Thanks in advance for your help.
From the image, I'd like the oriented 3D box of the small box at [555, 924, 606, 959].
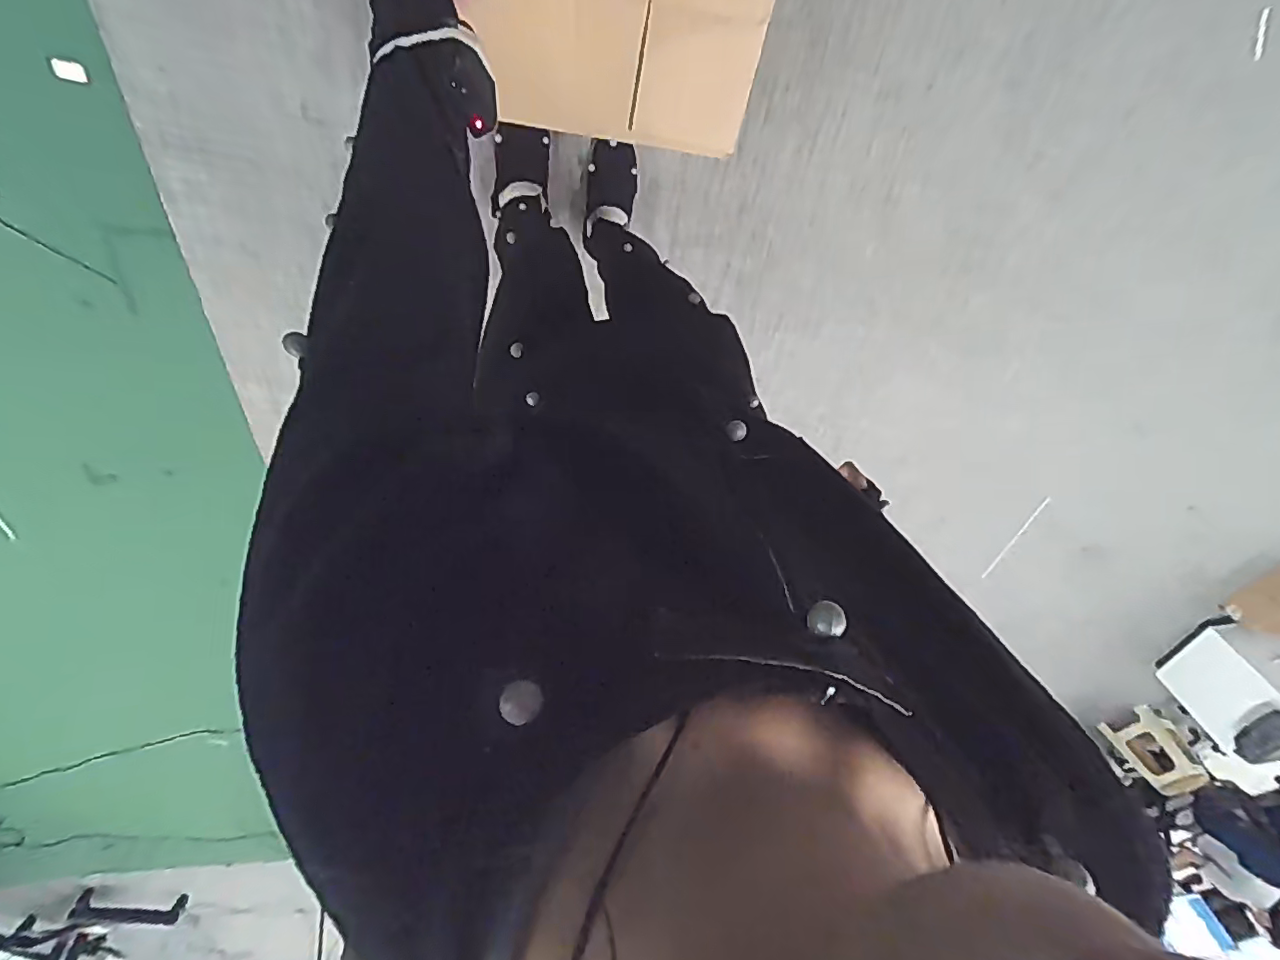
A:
[{"bbox_3d":[-0.218,1.743,1.964,0.179,0.176,0.168,1,130,-11],"label":"small box"}]
